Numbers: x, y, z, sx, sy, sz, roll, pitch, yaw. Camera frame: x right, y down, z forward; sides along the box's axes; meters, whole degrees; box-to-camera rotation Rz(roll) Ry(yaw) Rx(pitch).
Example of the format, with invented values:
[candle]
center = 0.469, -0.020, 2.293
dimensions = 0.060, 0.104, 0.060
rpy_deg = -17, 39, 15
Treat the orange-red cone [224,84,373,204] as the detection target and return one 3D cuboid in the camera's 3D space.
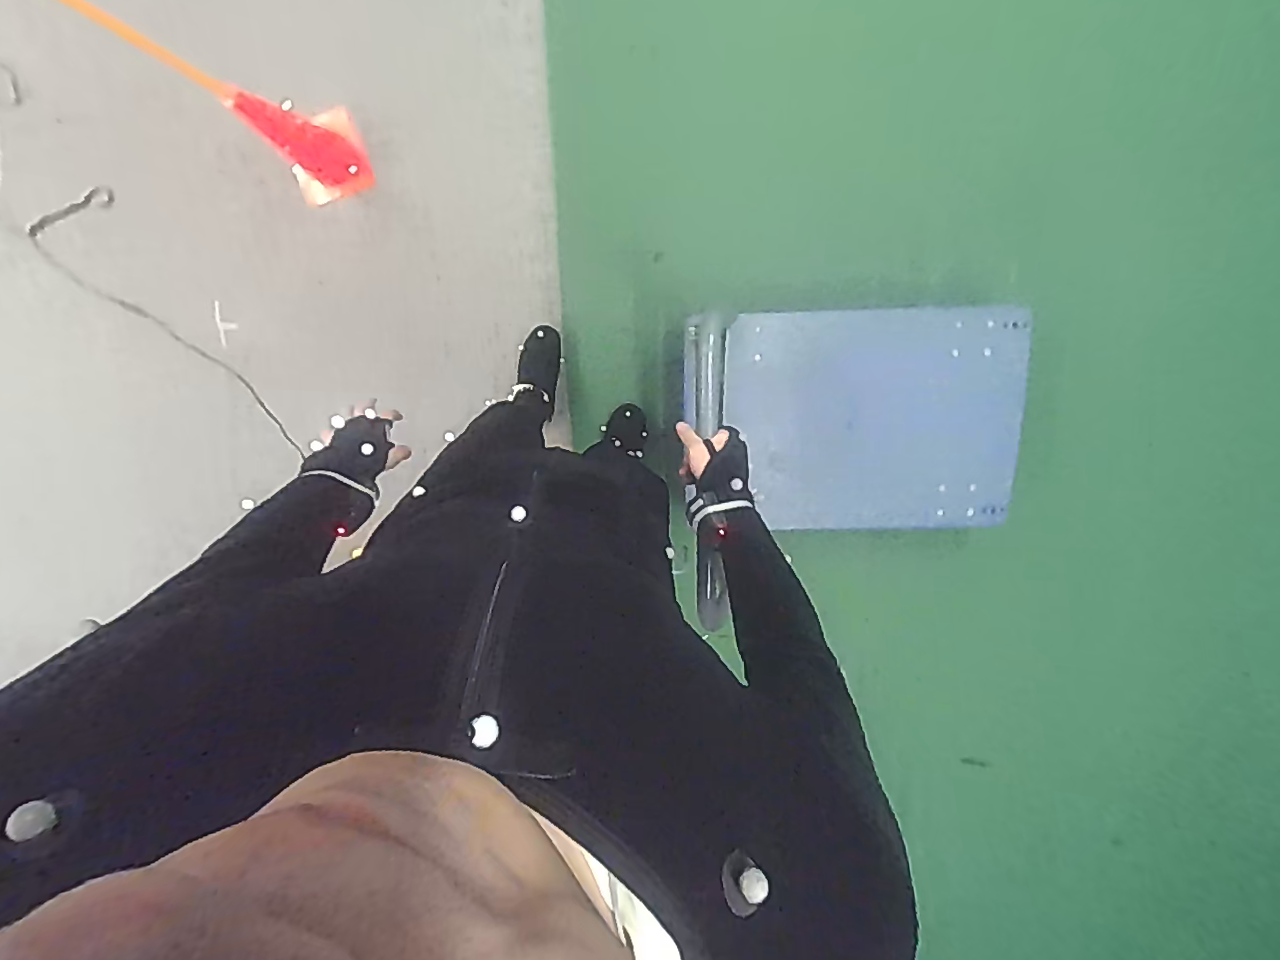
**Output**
[orange-red cone]
center = -0.835, -0.828, 1.280
dimensions = 0.198, 0.360, 0.199
rpy_deg = -16, 100, 4
